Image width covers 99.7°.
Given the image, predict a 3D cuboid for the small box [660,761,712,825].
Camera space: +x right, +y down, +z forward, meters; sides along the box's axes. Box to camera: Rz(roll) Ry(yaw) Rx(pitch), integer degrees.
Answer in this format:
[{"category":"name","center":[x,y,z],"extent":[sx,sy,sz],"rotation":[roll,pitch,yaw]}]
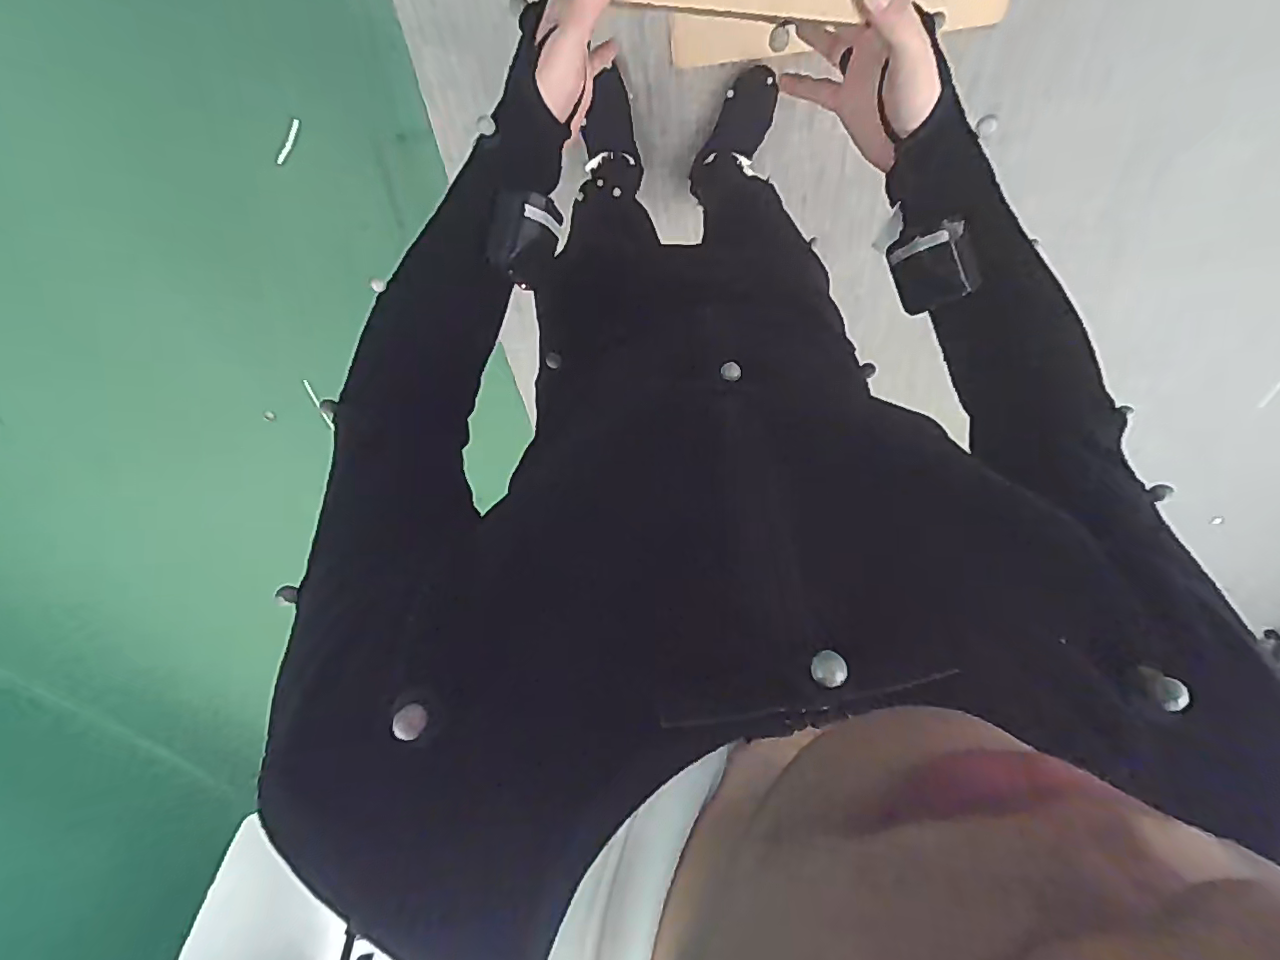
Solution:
[{"category":"small box","center":[0.167,1.155,2.000],"extent":[0.179,0.176,0.168],"rotation":[-5,133,3]}]

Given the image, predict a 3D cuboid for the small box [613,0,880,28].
[{"category":"small box","center":[0.071,-0.417,0.360],"extent":[0.179,0.176,0.168],"rotation":[1,130,-4]}]
